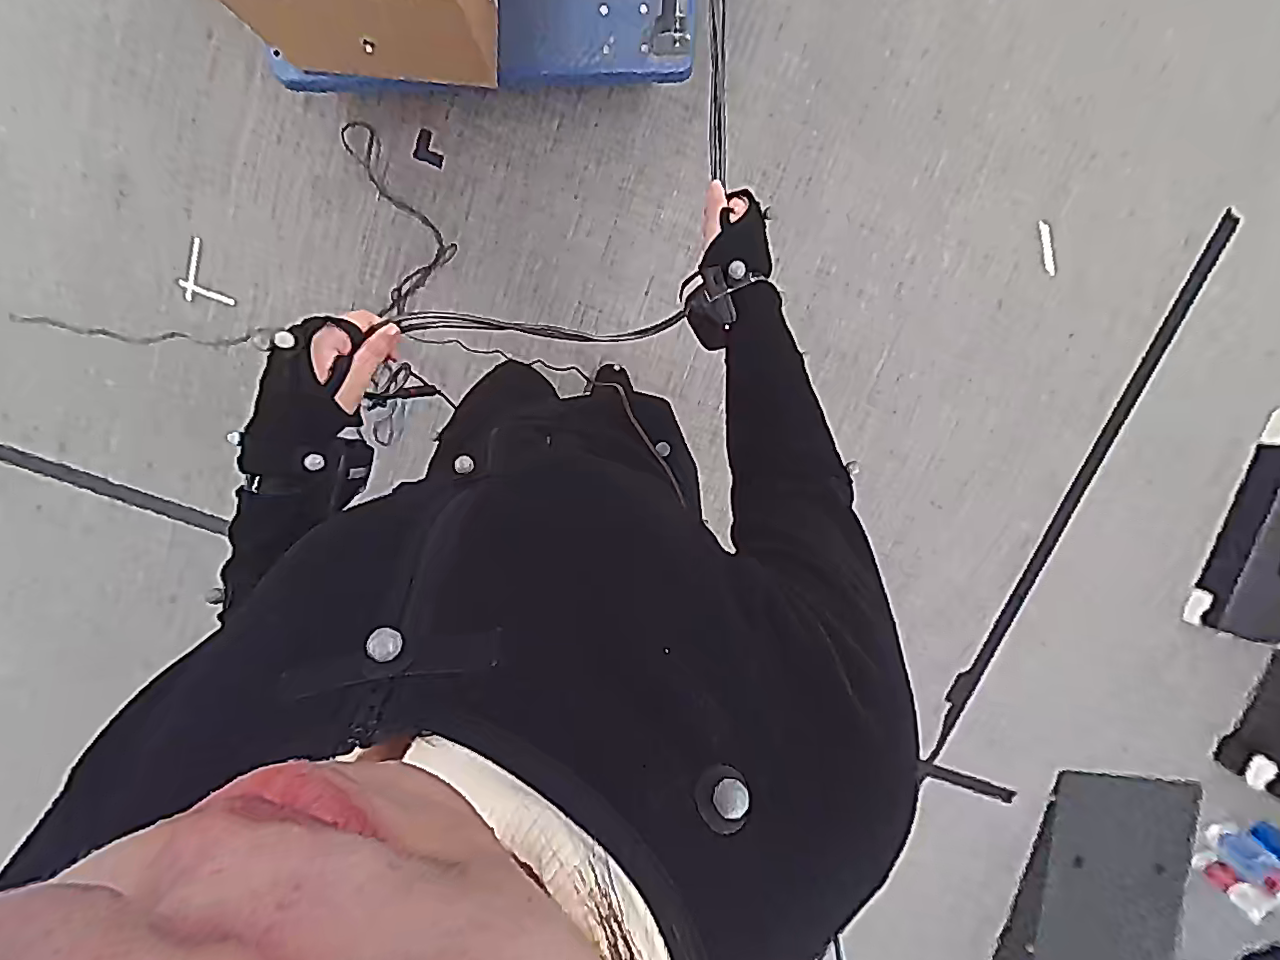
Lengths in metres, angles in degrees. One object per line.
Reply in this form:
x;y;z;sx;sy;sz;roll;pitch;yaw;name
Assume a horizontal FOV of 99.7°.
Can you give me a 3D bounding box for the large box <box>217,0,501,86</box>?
-0.473;-0.925;0.924;0.408;0.320;0.320;3;102;-2;large box
